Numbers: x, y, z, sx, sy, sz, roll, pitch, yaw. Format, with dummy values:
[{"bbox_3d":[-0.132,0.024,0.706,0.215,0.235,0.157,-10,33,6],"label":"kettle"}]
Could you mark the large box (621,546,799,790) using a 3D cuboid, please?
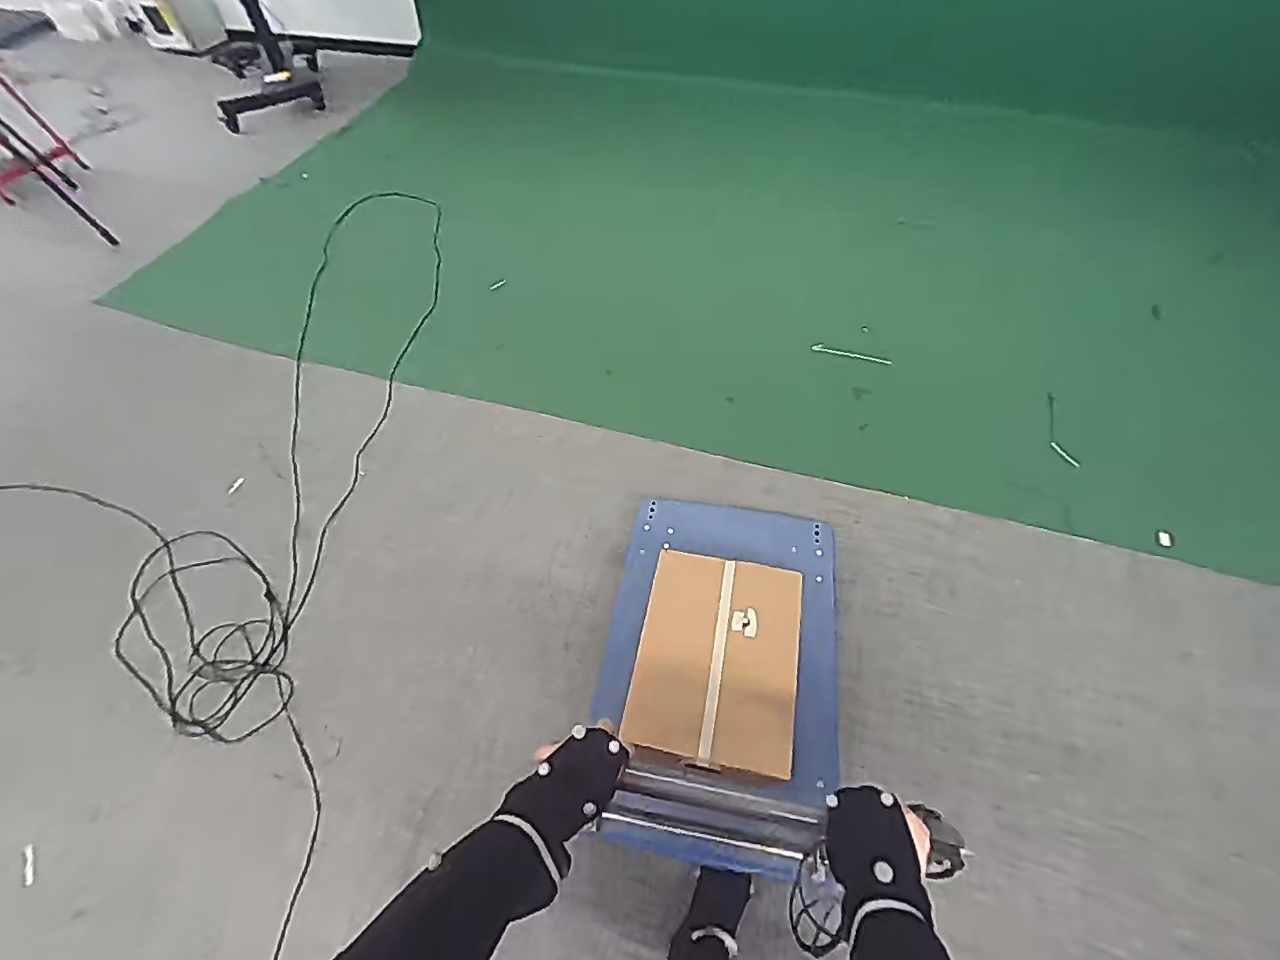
[{"bbox_3d":[0.157,0.414,1.189,0.320,0.320,0.408,10,56,8],"label":"large box"}]
